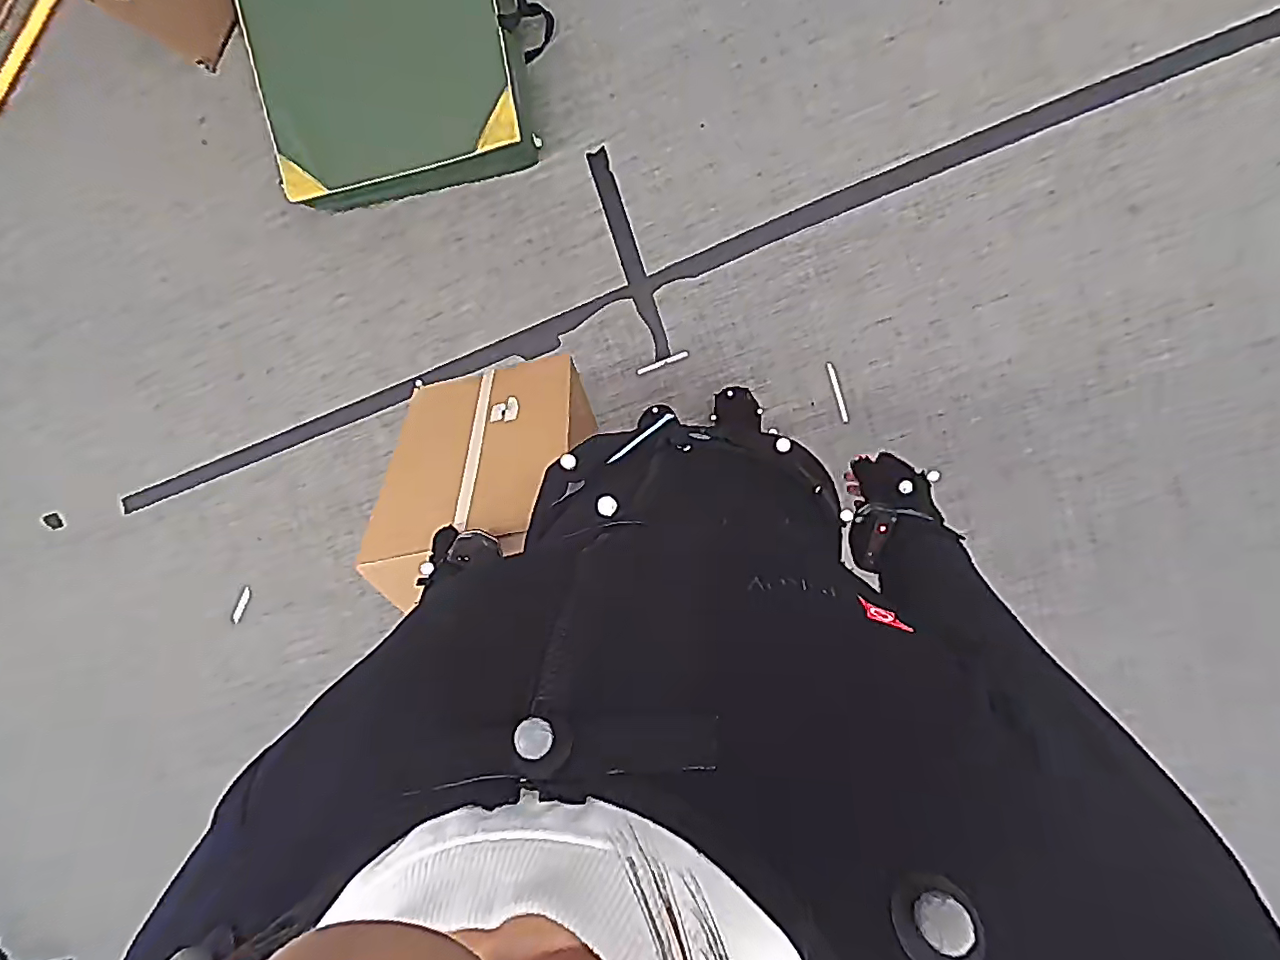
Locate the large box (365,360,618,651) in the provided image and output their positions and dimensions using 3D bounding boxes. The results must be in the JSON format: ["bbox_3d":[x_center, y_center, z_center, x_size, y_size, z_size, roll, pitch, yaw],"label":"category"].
[{"bbox_3d":[-0.232,0.046,1.001,0.320,0.408,0.320,-11,136,7],"label":"large box"}]
